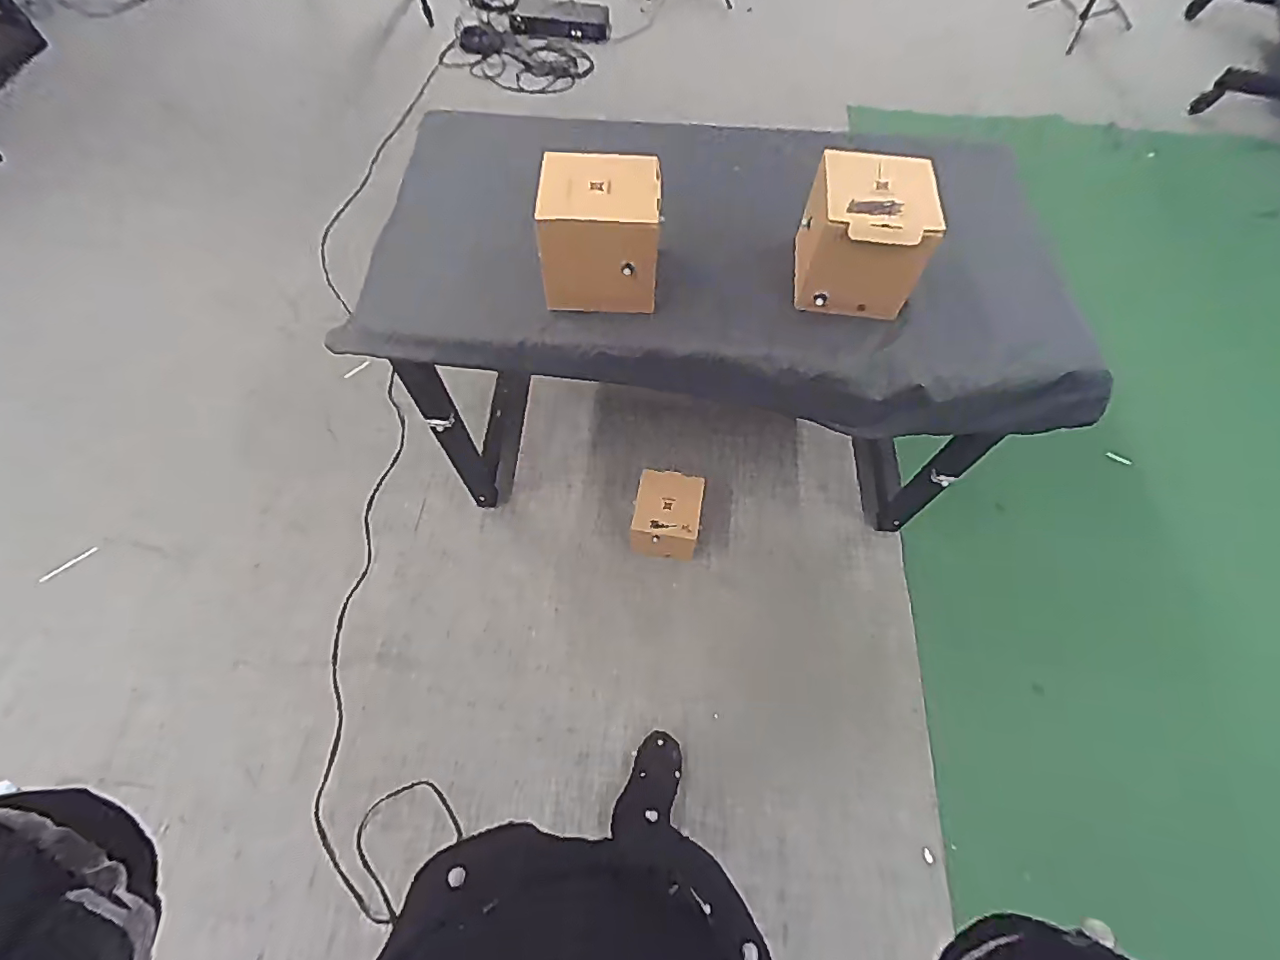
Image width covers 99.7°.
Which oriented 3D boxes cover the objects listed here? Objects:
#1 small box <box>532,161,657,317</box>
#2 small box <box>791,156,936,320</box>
[{"bbox_3d":[-0.065,-0.377,0.863,0.179,0.176,0.168,0,60,0],"label":"small box"},{"bbox_3d":[0.347,-0.382,0.870,0.168,0.176,0.179,7,62,3],"label":"small box"}]
